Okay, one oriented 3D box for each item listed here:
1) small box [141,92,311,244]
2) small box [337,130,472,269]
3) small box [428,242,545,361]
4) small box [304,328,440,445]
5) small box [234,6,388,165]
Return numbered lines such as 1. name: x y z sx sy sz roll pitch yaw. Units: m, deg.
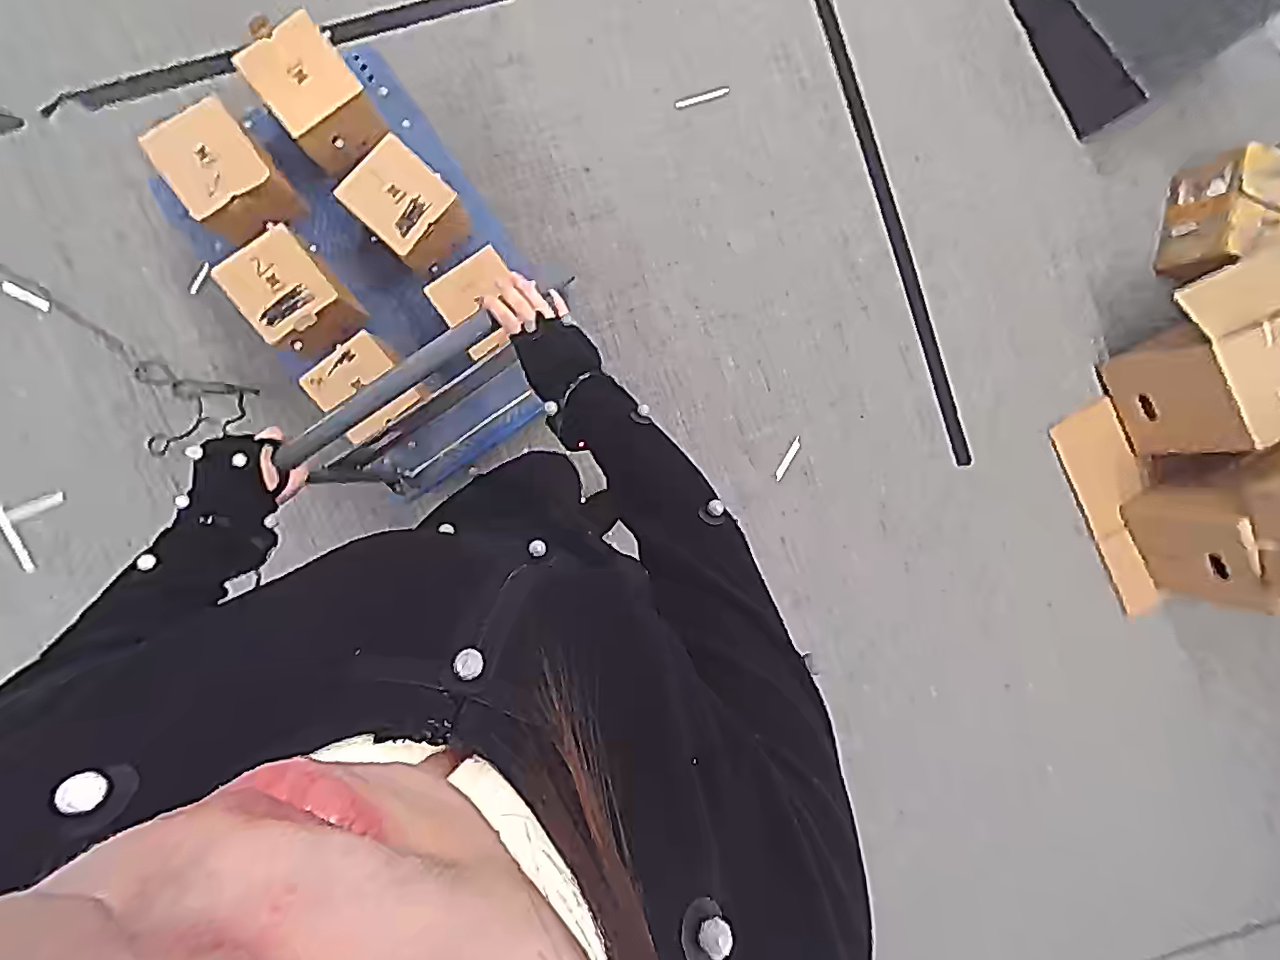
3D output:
1. small box: -0.818 -0.615 1.090 0.168 0.176 0.179 -35 99 -4
2. small box: -0.482 -0.574 1.140 0.179 0.176 0.168 42 88 -8
3. small box: -0.322 -0.375 1.178 0.168 0.176 0.179 -36 97 -4
4. small box: -0.559 -0.195 1.158 0.168 0.176 0.179 -40 99 -4
5. small box: -0.653 -0.782 1.101 0.168 0.176 0.179 -39 98 -3
